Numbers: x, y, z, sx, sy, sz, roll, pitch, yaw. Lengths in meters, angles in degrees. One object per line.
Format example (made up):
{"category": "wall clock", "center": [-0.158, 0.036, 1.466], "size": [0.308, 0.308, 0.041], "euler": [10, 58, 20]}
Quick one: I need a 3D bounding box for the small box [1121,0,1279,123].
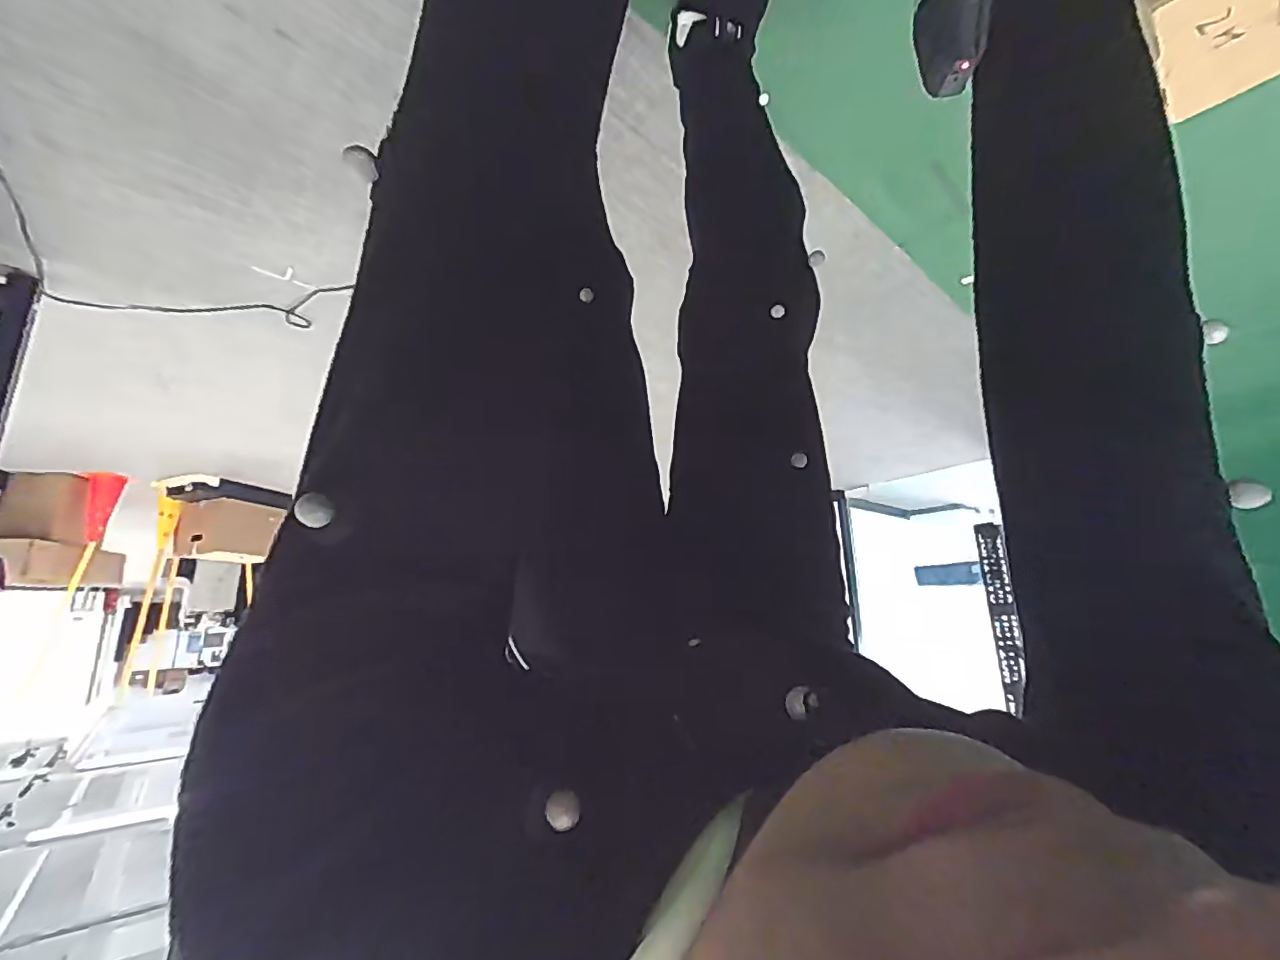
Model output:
{"category": "small box", "center": [0.544, -0.478, 0.468], "size": [0.168, 0.176, 0.179], "euler": [12, 160, -41]}
